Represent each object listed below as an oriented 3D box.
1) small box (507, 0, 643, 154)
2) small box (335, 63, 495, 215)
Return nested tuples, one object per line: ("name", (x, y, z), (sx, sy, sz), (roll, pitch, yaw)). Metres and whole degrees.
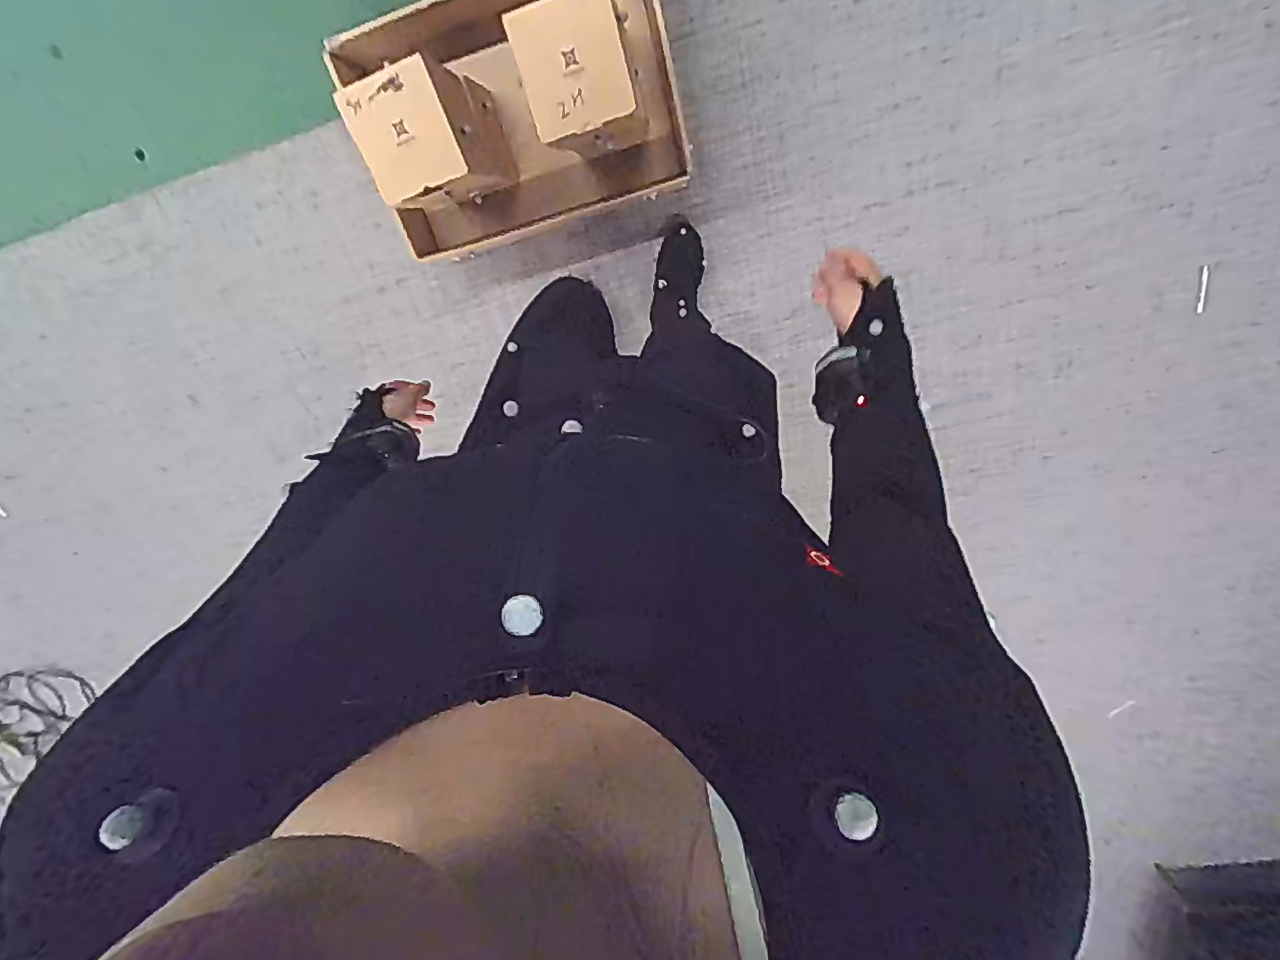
("small box", (-0.096, -0.664, 0.897), (0.168, 0.176, 0.179), (-12, 117, 11))
("small box", (-0.379, -0.590, 0.952), (0.168, 0.176, 0.179), (-15, 116, 11))
